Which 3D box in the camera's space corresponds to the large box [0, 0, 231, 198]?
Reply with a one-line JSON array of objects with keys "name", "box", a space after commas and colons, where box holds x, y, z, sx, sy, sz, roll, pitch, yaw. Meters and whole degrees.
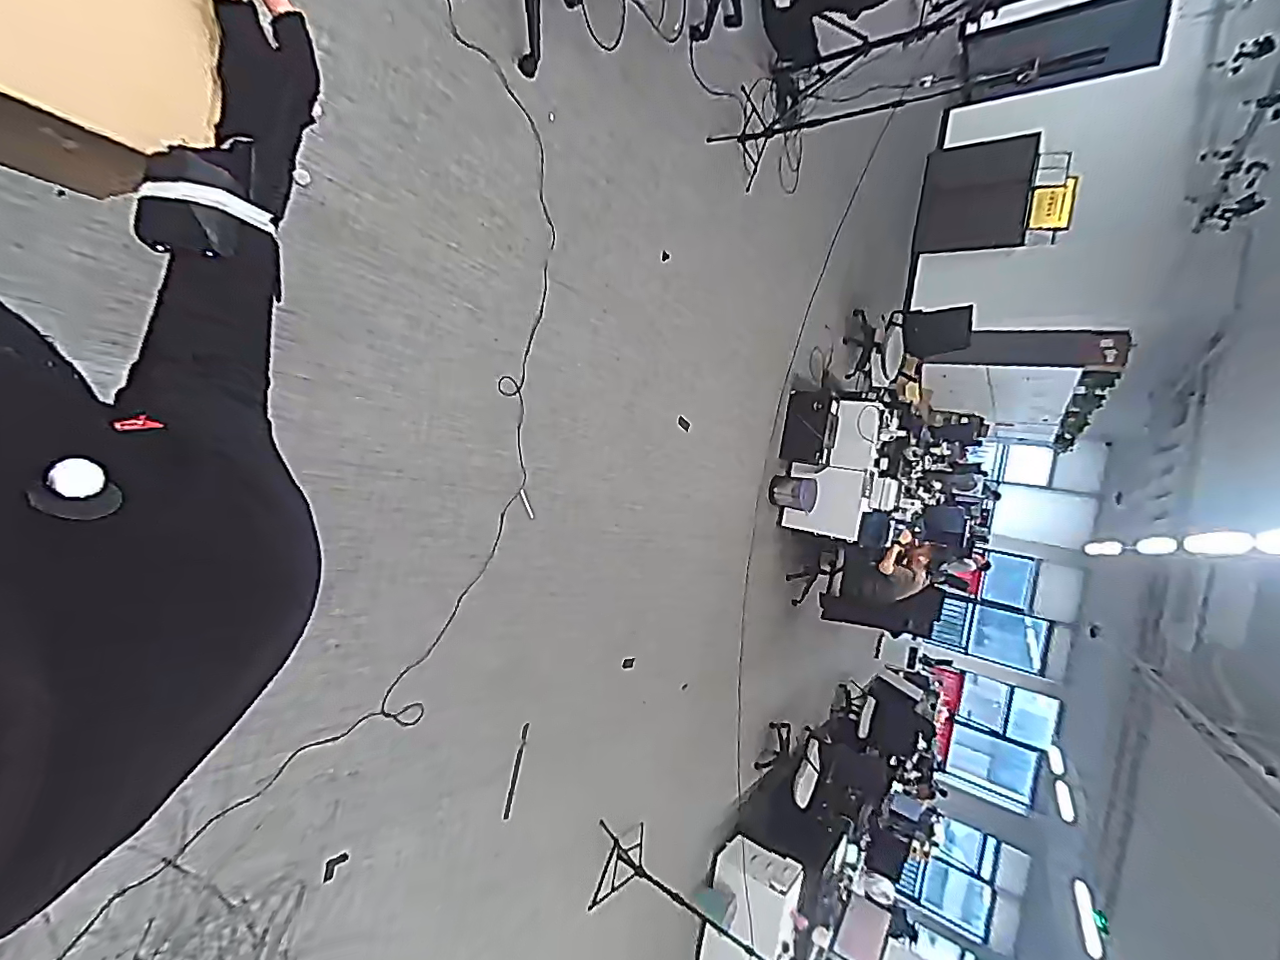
[{"name": "large box", "box": [-0.535, -0.419, 0.319, 0.408, 0.320, 0.320, 6, 100, -57]}]
